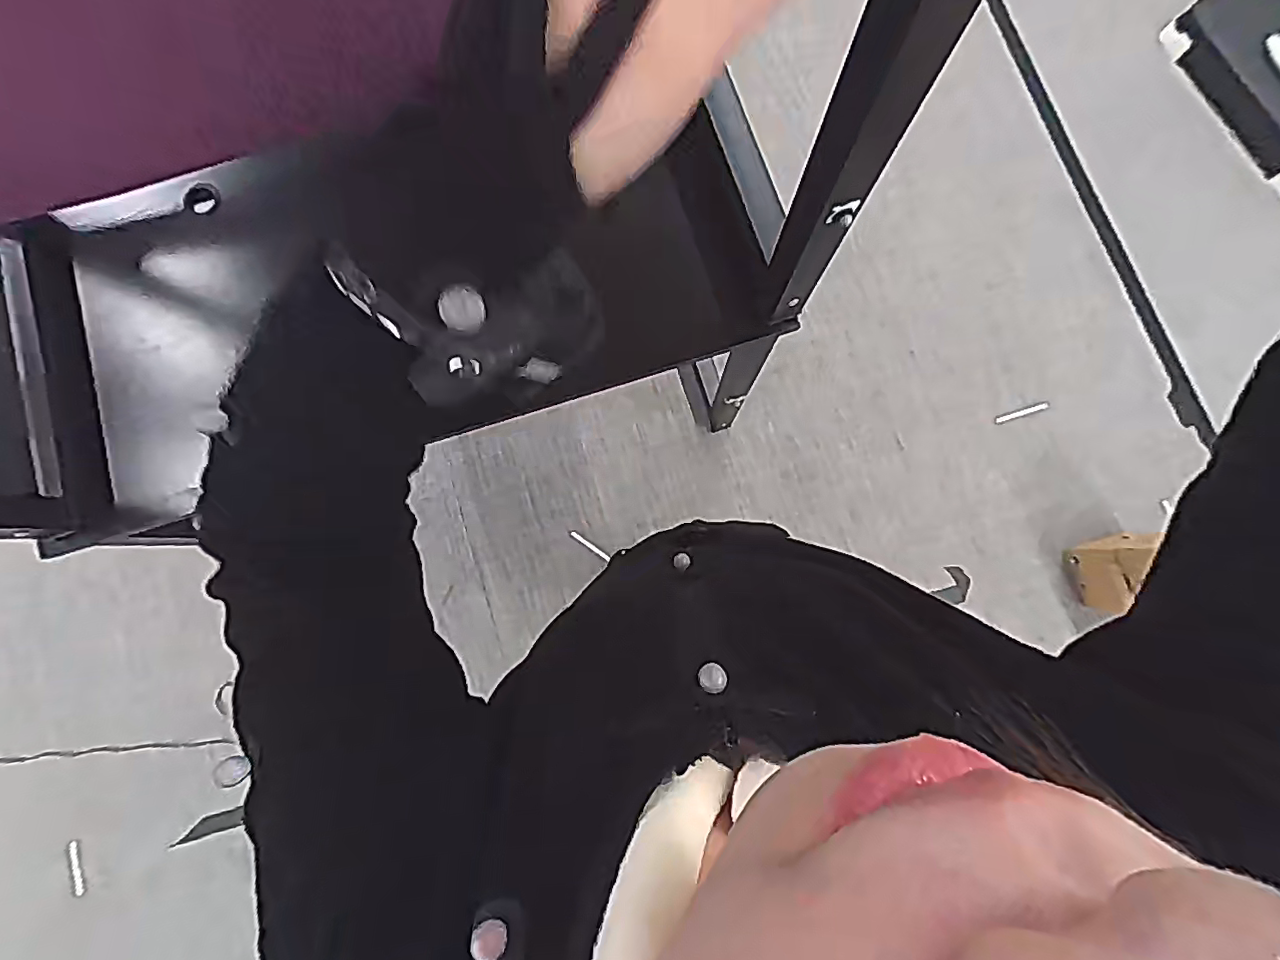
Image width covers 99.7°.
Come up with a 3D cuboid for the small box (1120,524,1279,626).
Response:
[{"bbox_3d":[1.251,0.205,1.211,0.168,0.176,0.179,-20,84,-1],"label":"small box"}]

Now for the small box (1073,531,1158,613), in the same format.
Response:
[{"bbox_3d":[1.255,0.231,1.374,0.179,0.176,0.168,-16,83,-1],"label":"small box"}]
